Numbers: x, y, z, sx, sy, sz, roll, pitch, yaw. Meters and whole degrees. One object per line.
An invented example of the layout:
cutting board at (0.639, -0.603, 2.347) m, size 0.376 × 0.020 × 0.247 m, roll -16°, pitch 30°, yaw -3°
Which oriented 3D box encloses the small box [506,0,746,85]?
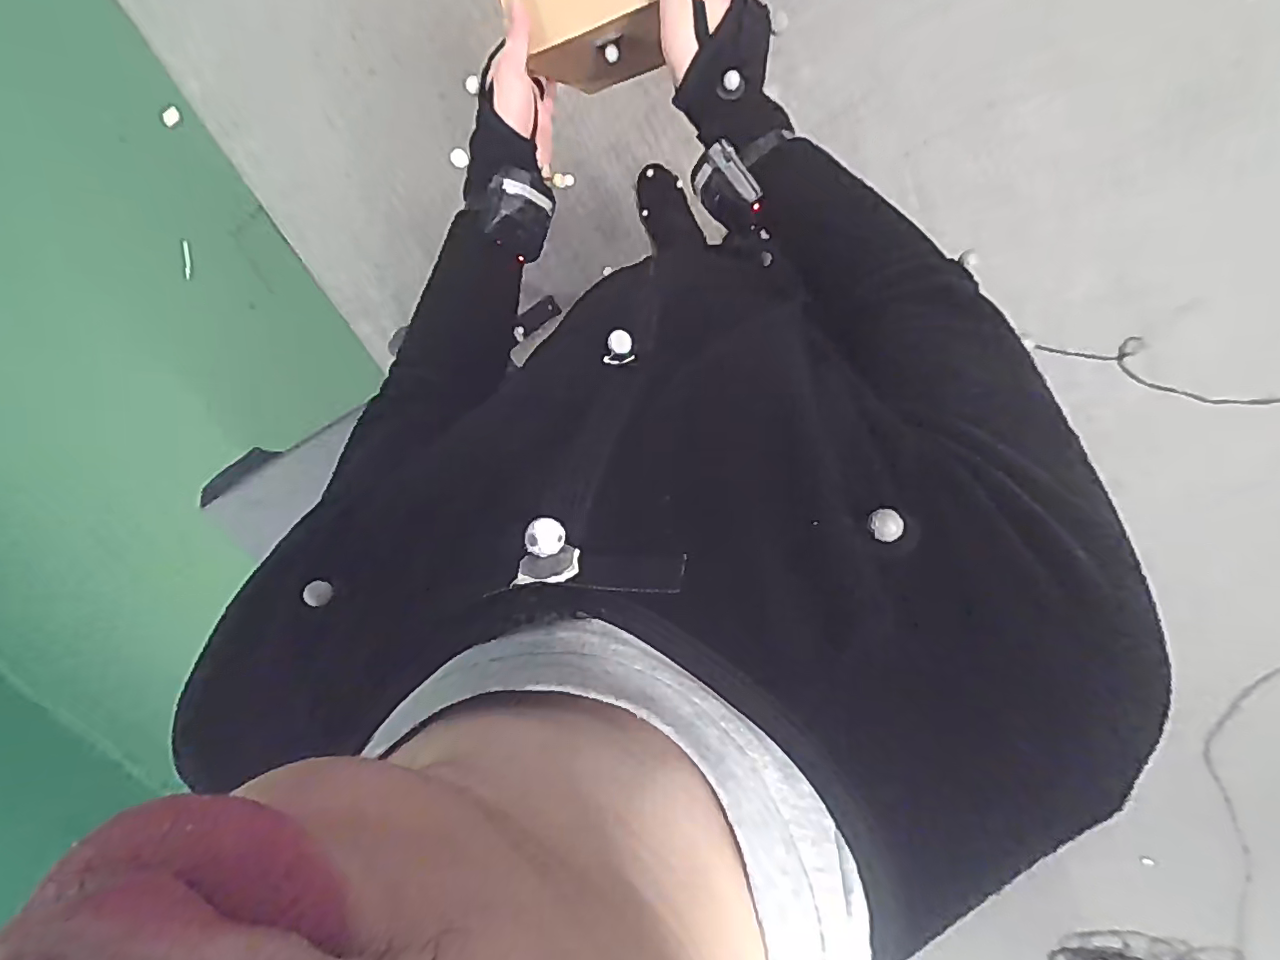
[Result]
small box at (-0.014, -0.464, 0.453) m, size 0.179 × 0.176 × 0.168 m, roll -6°, pitch 113°, yaw 18°
